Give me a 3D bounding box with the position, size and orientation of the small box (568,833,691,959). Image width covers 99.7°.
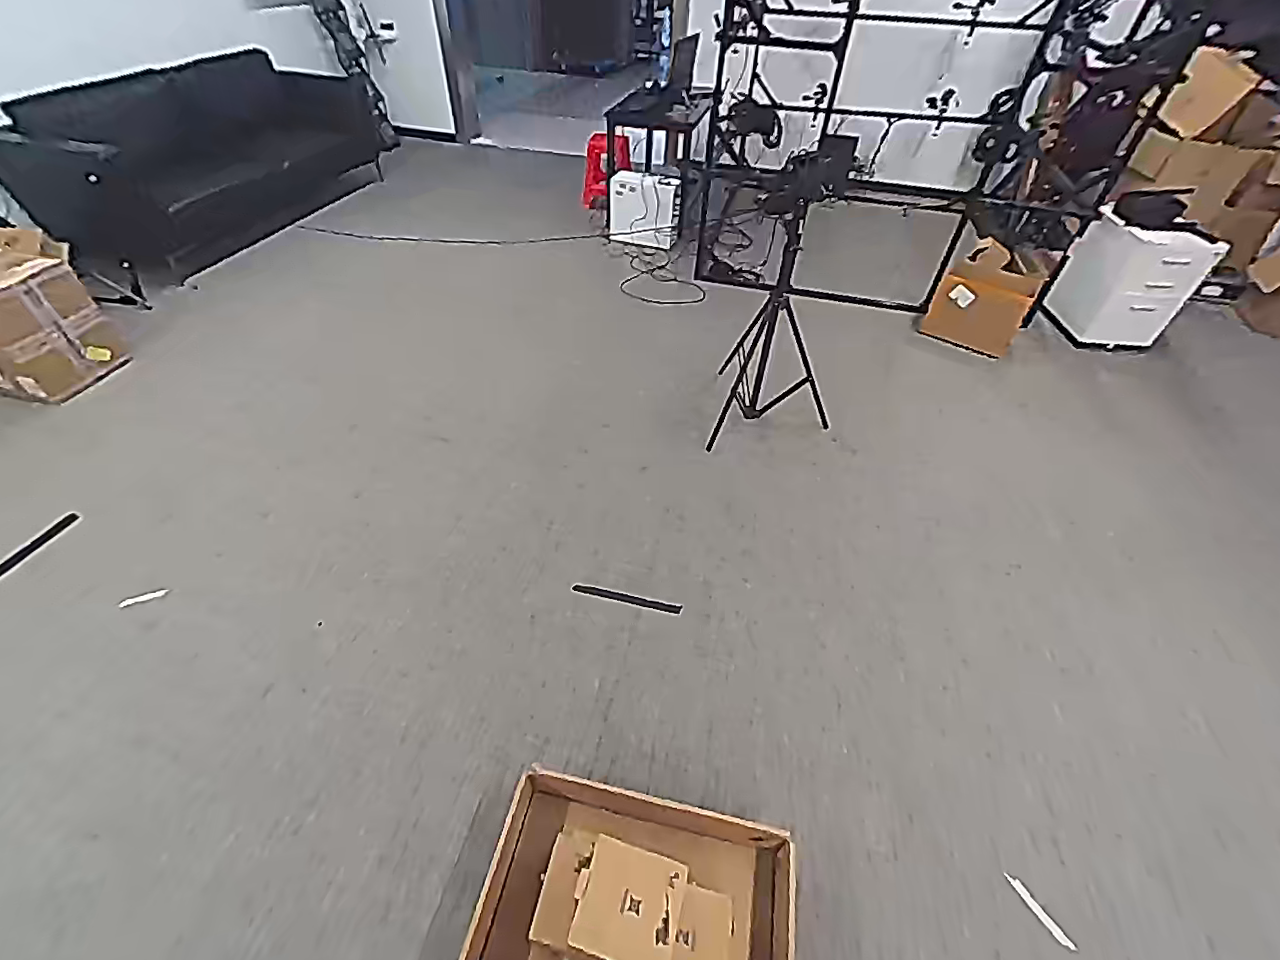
[{"bbox_3d":[-0.017,0.778,0.978,0.179,0.176,0.168,14,46,10],"label":"small box"}]

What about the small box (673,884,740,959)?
[{"bbox_3d":[0.092,0.920,1.073,0.179,0.176,0.168,9,45,9],"label":"small box"}]
